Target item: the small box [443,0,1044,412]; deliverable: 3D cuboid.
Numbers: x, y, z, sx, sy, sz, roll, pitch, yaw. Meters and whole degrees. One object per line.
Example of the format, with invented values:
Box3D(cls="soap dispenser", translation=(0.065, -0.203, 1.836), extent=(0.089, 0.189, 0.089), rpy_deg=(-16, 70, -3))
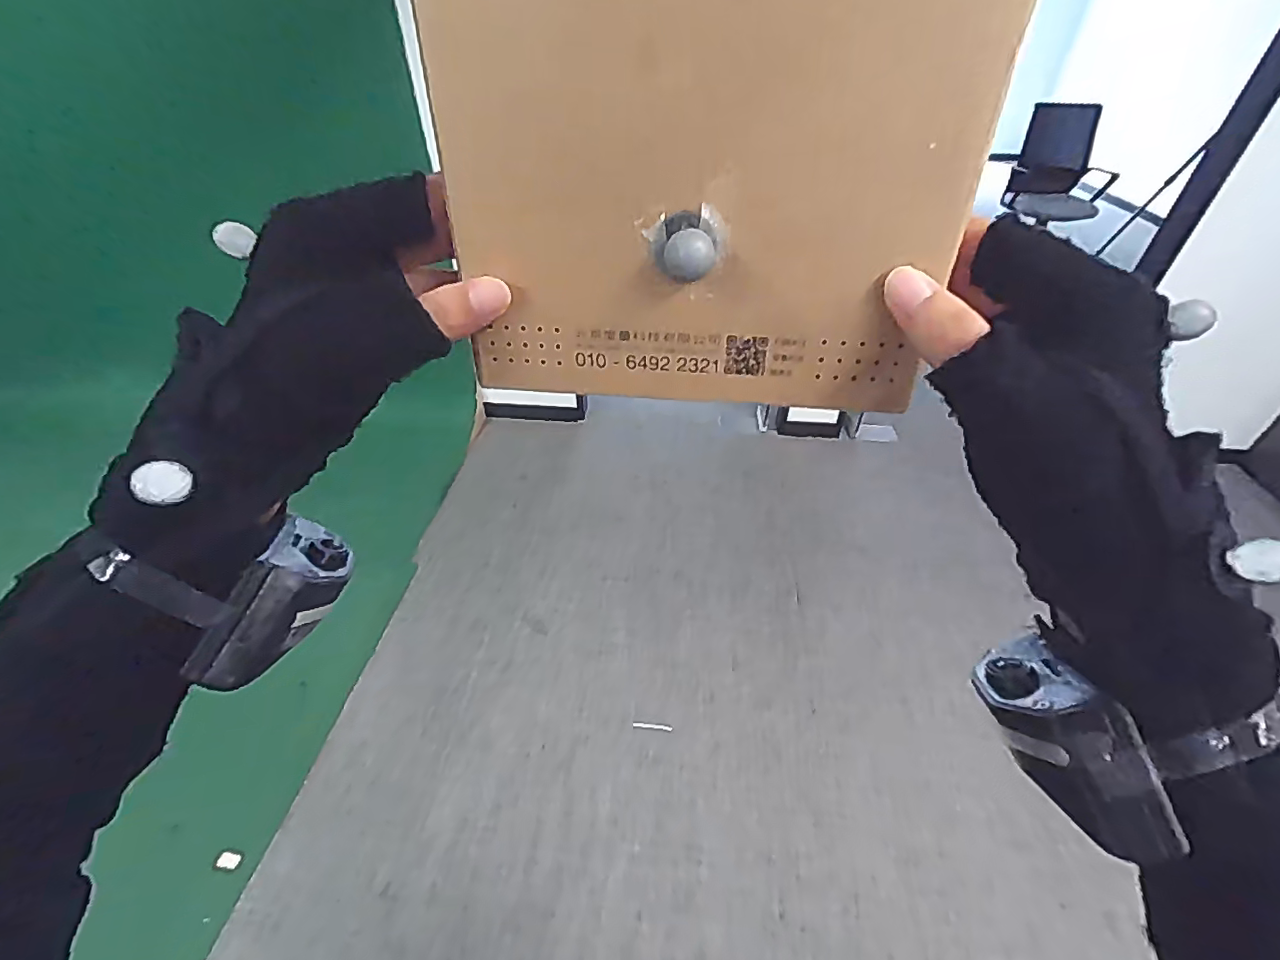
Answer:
Box3D(cls="small box", translation=(0.030, -0.146, 0.228), extent=(0.168, 0.176, 0.179), rpy_deg=(4, 36, 6))
